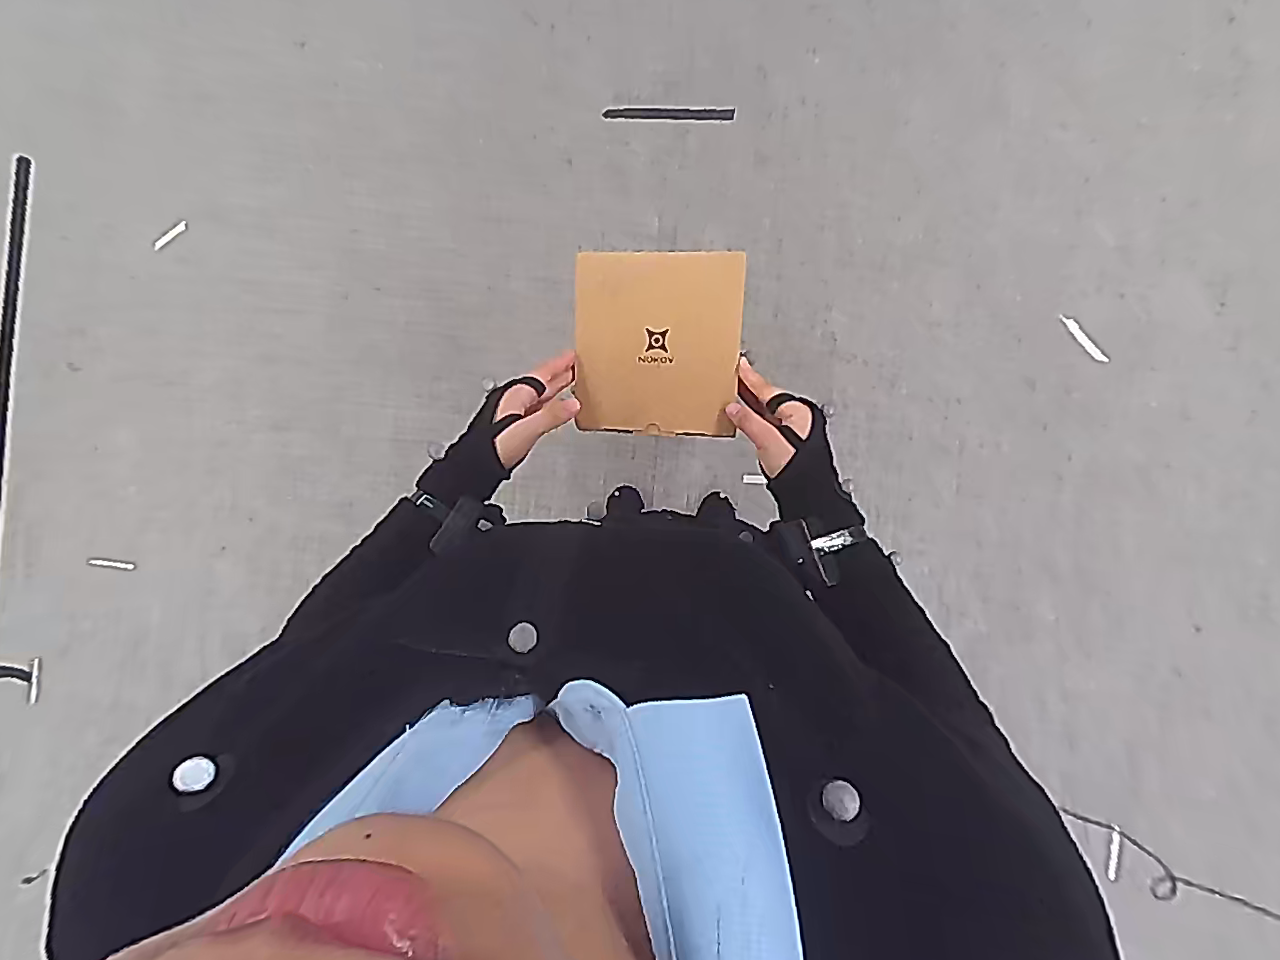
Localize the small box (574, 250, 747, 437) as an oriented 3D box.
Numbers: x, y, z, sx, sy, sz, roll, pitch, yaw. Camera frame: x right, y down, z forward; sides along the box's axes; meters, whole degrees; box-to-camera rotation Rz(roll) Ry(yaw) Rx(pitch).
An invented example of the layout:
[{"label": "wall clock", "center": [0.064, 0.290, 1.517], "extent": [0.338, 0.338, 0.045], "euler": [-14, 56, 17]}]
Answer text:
[{"label": "small box", "center": [0.027, -0.146, 0.605], "extent": [0.168, 0.176, 0.179], "euler": [3, 101, 8]}]
